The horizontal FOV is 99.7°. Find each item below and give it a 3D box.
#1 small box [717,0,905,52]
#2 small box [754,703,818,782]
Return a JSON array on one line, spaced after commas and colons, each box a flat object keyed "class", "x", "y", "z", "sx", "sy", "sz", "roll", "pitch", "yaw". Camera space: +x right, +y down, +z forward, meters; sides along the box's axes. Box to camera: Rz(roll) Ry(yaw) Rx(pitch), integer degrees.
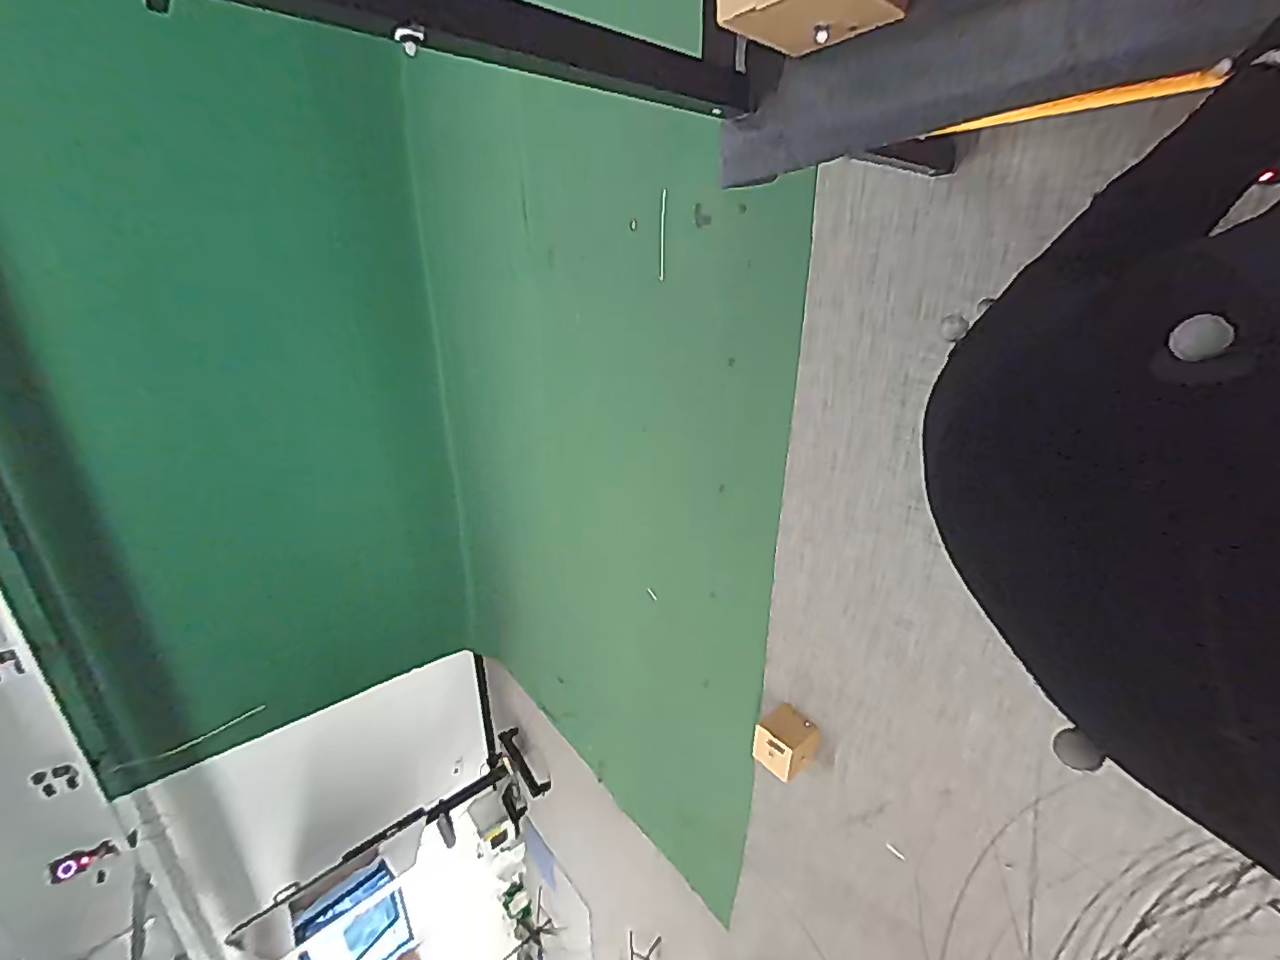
[{"class": "small box", "x": 0.211, "y": -0.657, "z": 0.644, "sx": 0.168, "sy": 0.176, "sz": 0.179, "roll": 21, "pitch": 119, "yaw": 46}, {"class": "small box", "x": 0.560, "y": 0.996, "z": 2.070, "sx": 0.168, "sy": 0.176, "sz": 0.179, "roll": 26, "pitch": 124, "yaw": 45}]
